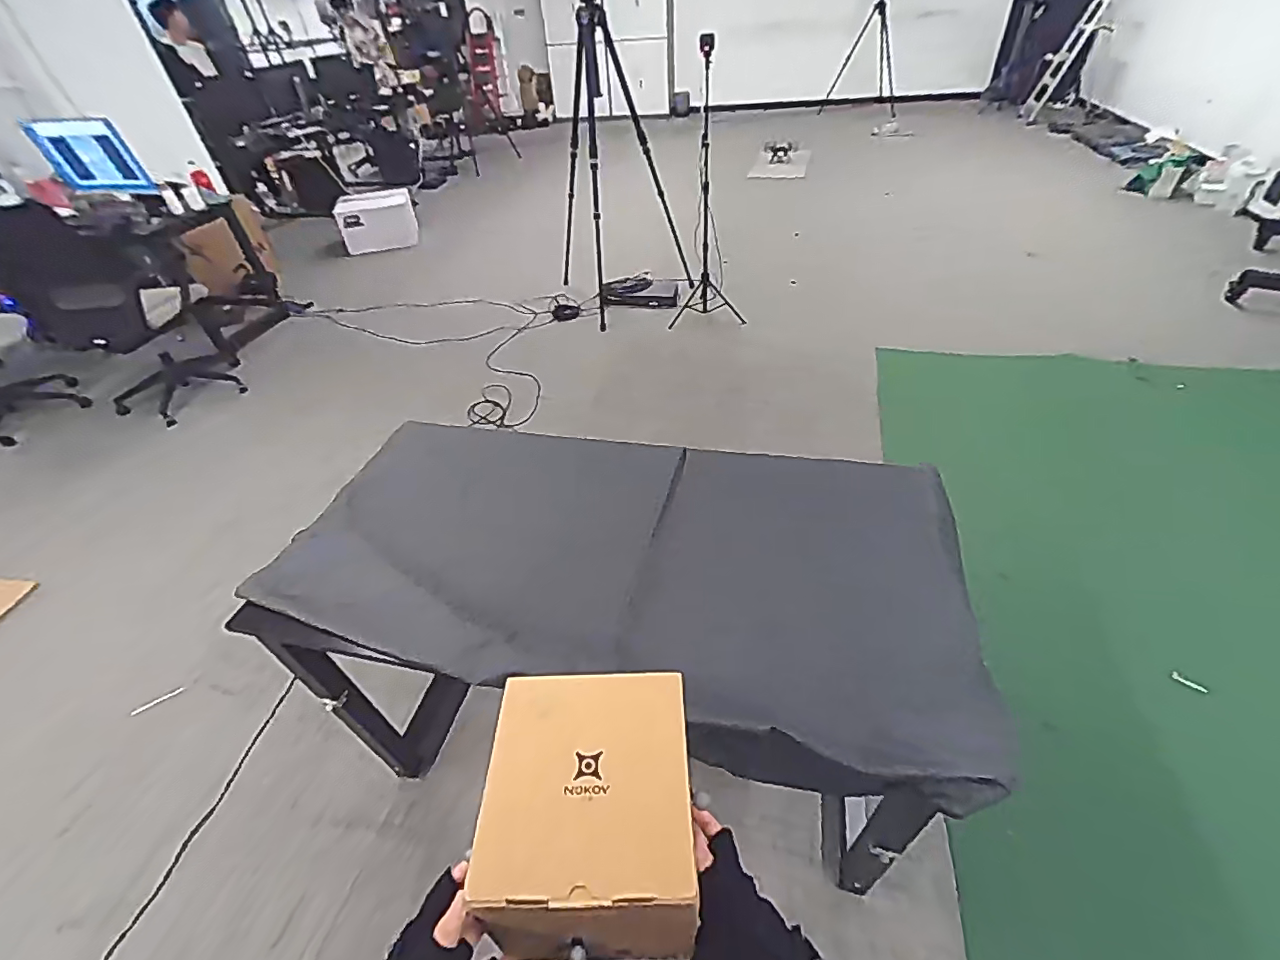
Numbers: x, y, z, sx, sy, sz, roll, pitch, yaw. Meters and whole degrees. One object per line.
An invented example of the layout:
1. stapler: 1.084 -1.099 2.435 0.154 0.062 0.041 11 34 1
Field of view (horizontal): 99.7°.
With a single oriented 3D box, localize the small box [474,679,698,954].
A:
1. small box: -0.038 0.308 0.502 0.168 0.176 0.179 -2 40 1
